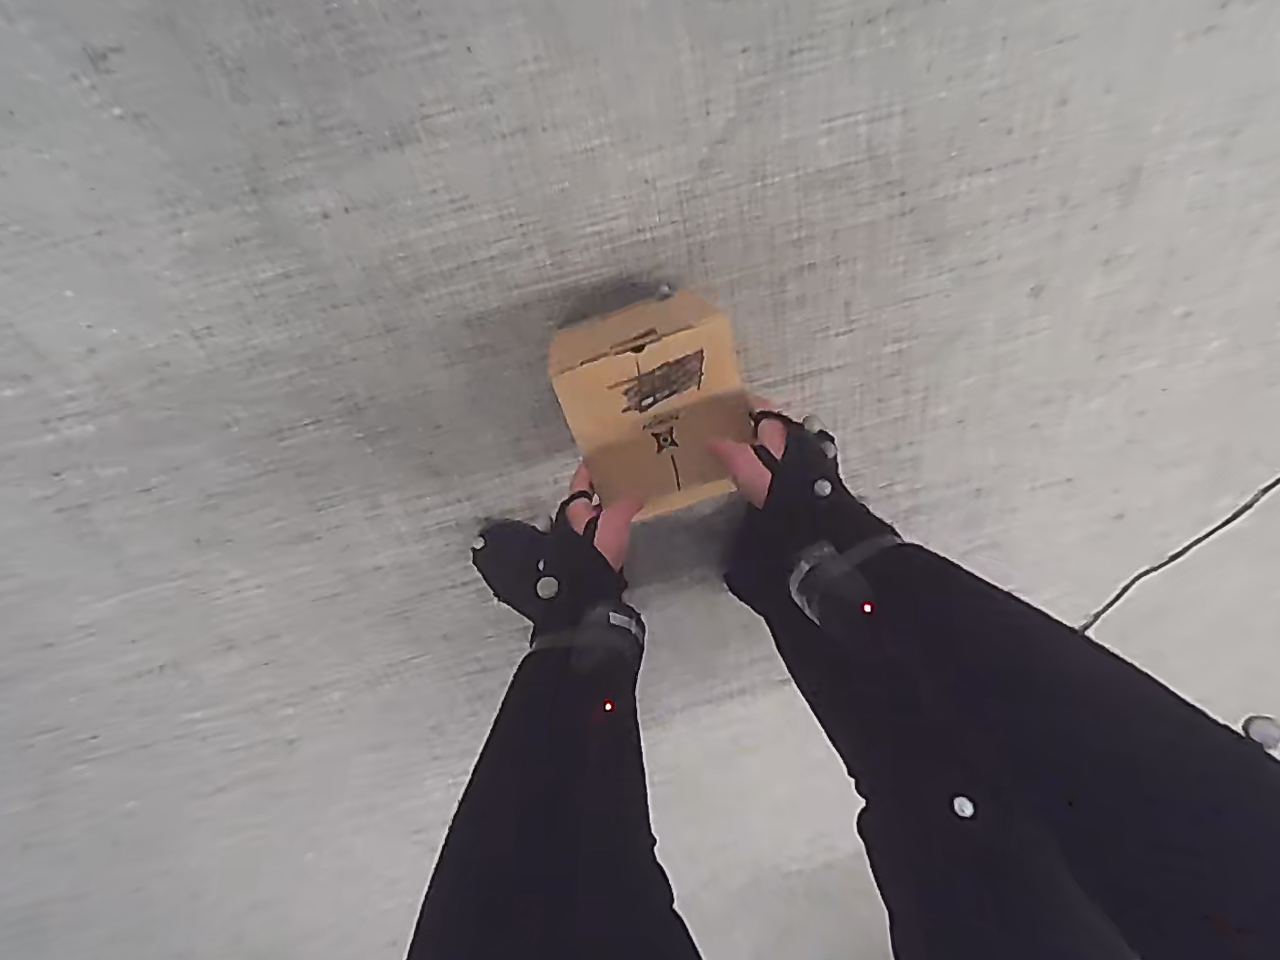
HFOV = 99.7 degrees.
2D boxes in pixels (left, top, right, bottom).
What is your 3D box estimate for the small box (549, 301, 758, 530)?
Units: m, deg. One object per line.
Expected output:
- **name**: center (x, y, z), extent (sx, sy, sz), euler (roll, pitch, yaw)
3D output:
- **small box**: center (0.010, -0.080, 0.579), extent (0.168, 0.176, 0.179), euler (-18, 119, 3)
